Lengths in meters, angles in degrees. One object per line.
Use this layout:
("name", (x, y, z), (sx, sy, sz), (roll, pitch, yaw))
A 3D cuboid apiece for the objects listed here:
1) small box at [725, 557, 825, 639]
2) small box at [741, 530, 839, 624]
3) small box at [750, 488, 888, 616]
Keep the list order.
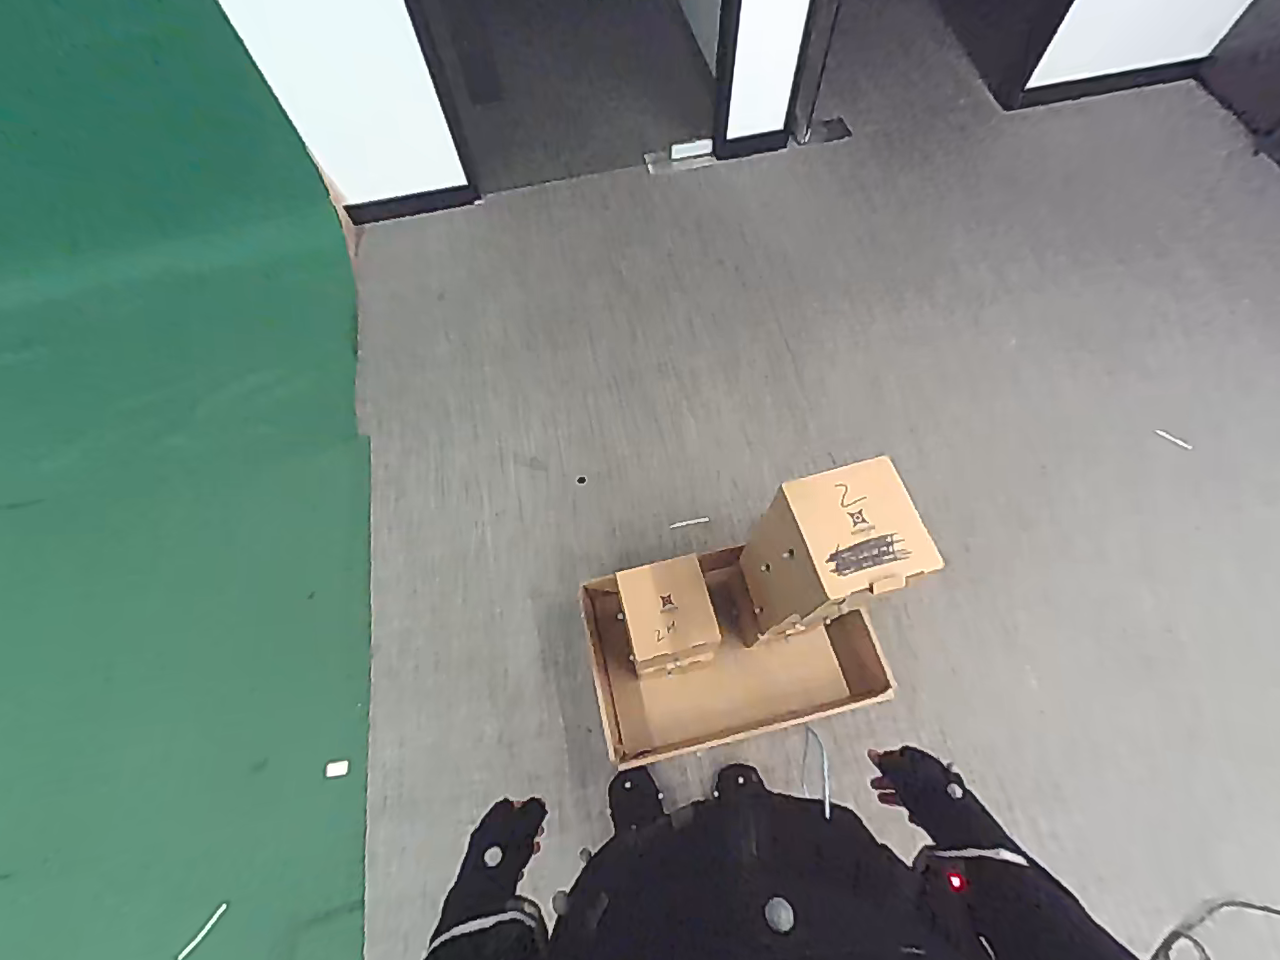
("small box", (0.310, 0.266, 1.273), (0.168, 0.176, 0.179), (-17, 67, -3))
("small box", (0.315, 0.190, 1.108), (0.168, 0.176, 0.179), (-13, 67, -3))
("small box", (0.308, 0.138, 0.970), (0.168, 0.176, 0.179), (-12, 67, -3))
